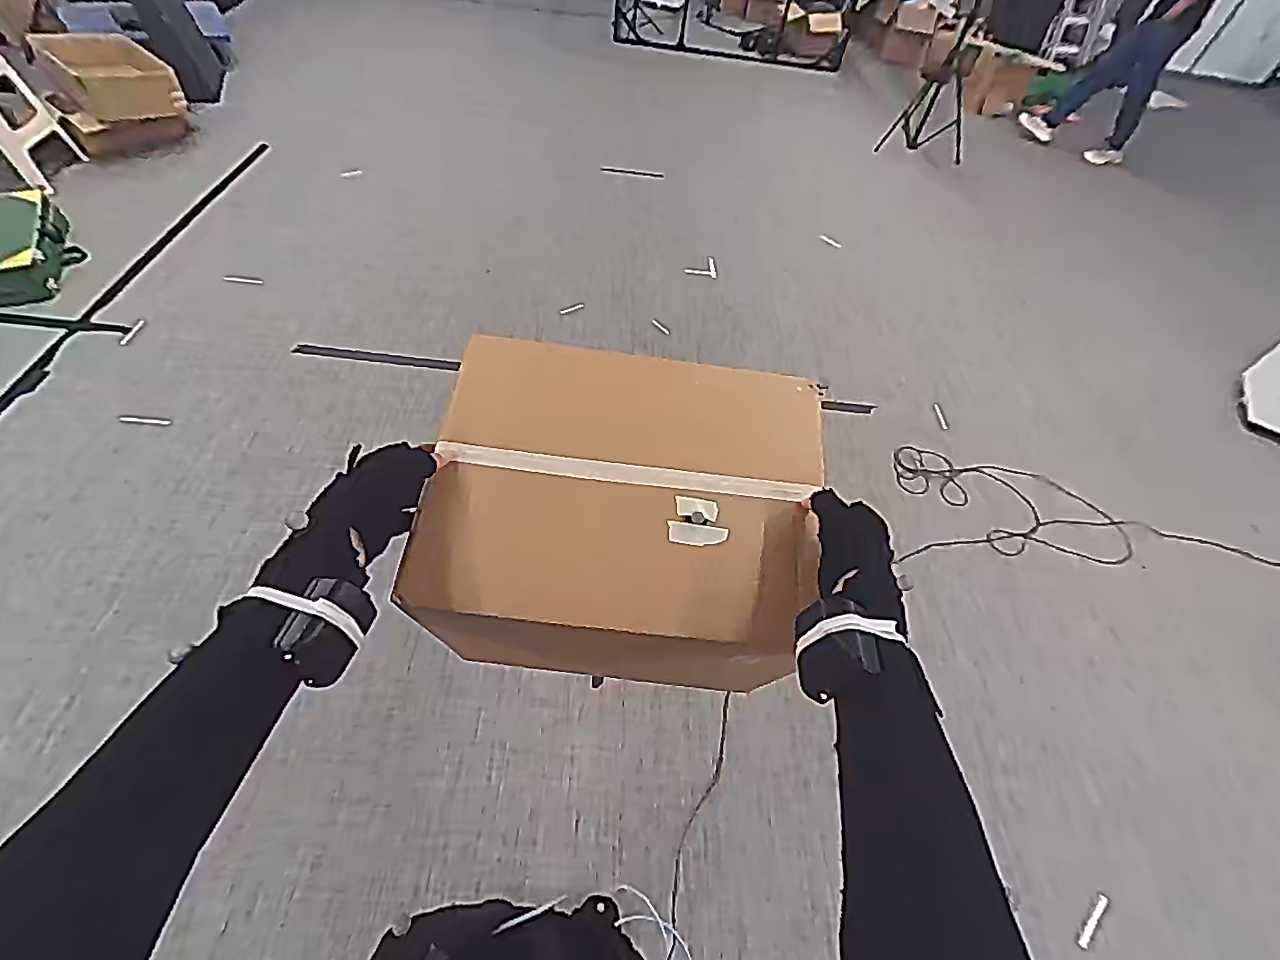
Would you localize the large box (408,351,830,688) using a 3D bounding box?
[{"bbox_3d":[-0.021,0.073,0.699,0.408,0.320,0.320,7,63,-3],"label":"large box"}]
